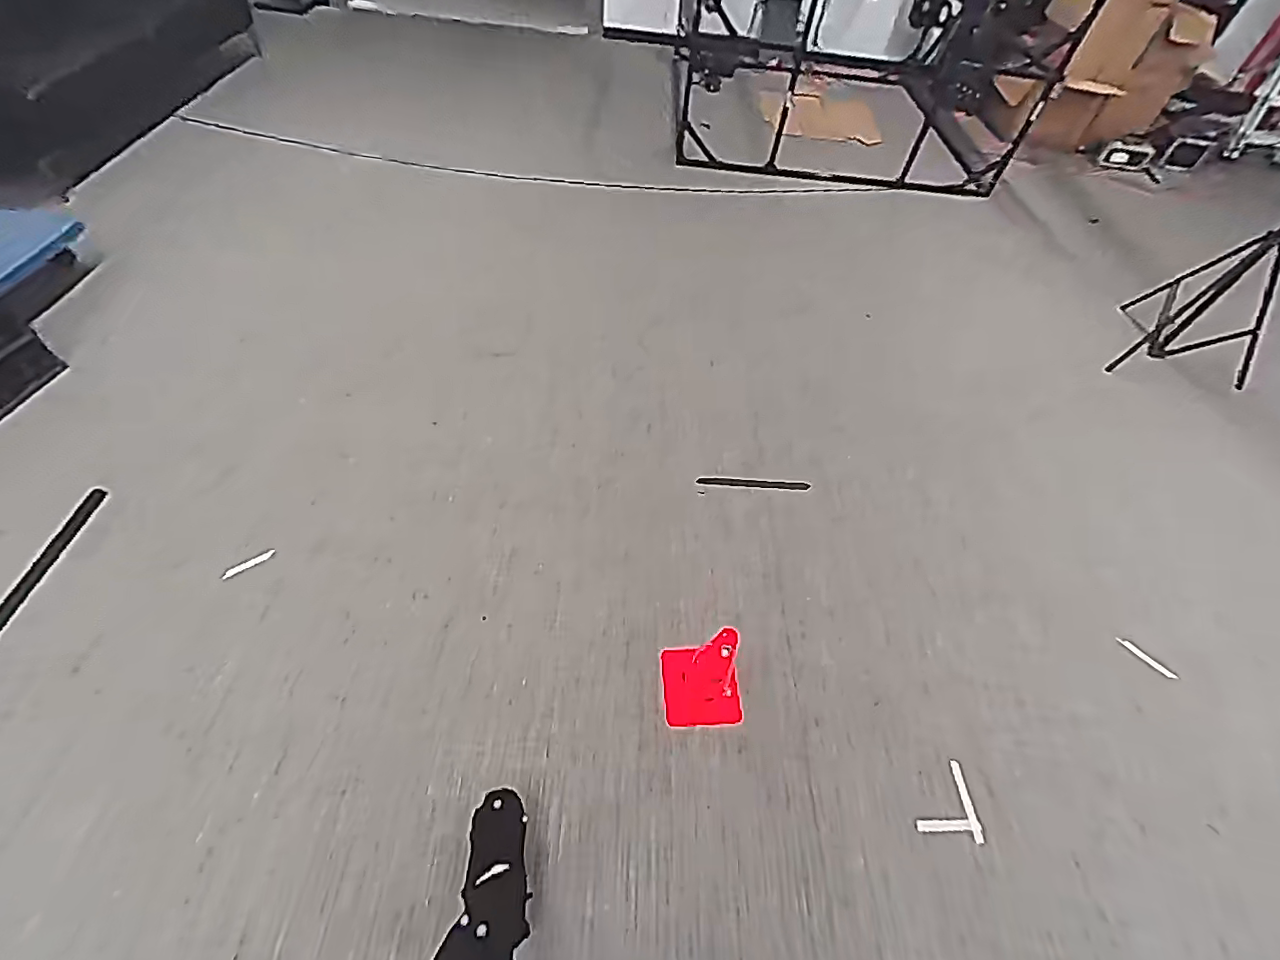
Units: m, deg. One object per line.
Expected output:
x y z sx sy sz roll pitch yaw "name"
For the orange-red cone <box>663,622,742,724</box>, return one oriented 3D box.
0.174 0.427 1.276 0.199 0.360 0.198 0 52 -4 "orange-red cone"
